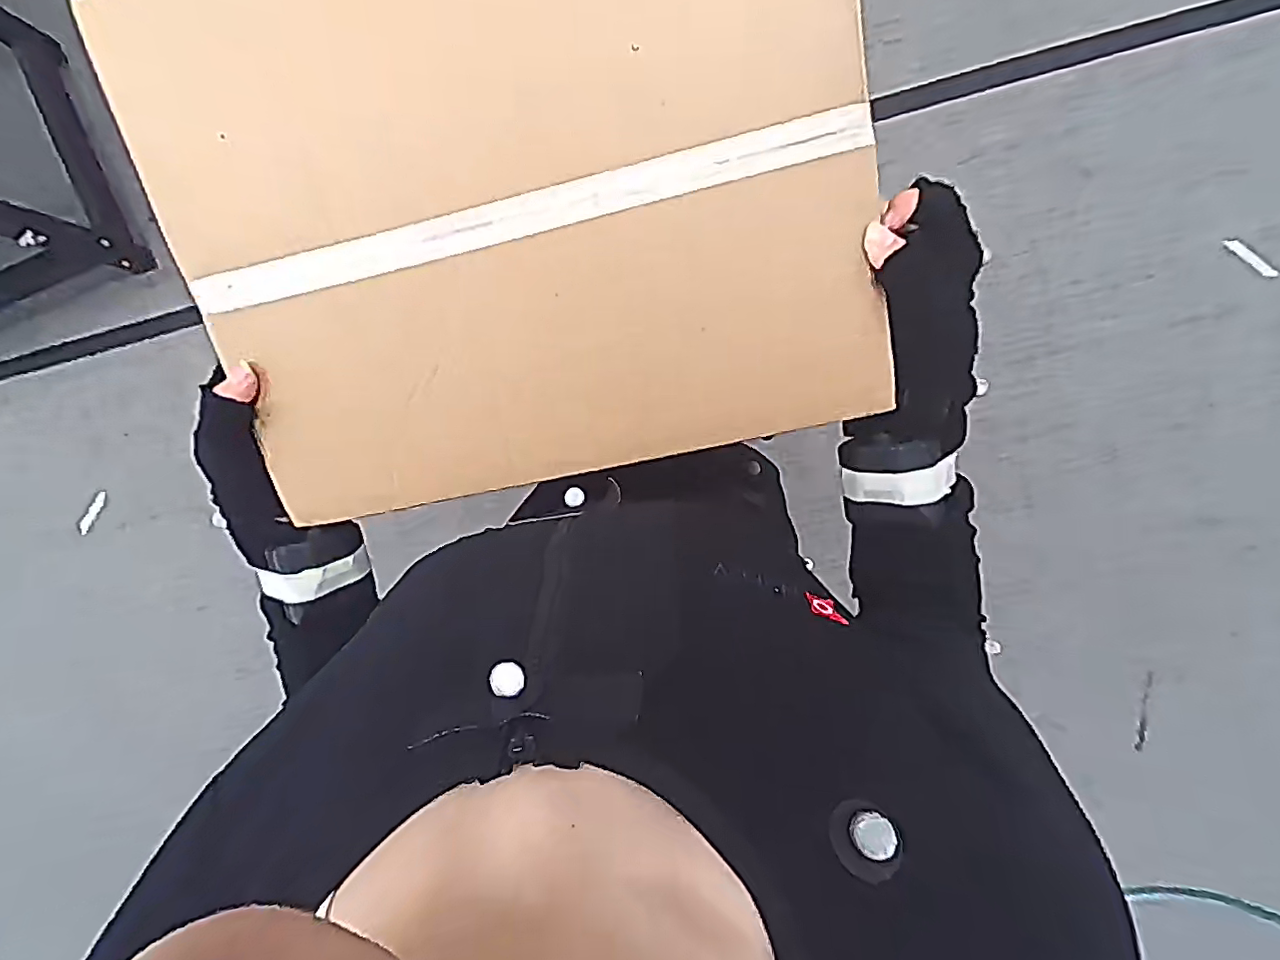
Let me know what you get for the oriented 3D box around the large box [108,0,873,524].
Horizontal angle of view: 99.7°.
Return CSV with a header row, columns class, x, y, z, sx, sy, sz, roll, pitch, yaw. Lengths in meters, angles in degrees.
class,x,y,z,sx,sy,sz,roll,pitch,yaw
large box,-0.068,-0.194,0.465,0.408,0.320,0.320,-11,106,7
